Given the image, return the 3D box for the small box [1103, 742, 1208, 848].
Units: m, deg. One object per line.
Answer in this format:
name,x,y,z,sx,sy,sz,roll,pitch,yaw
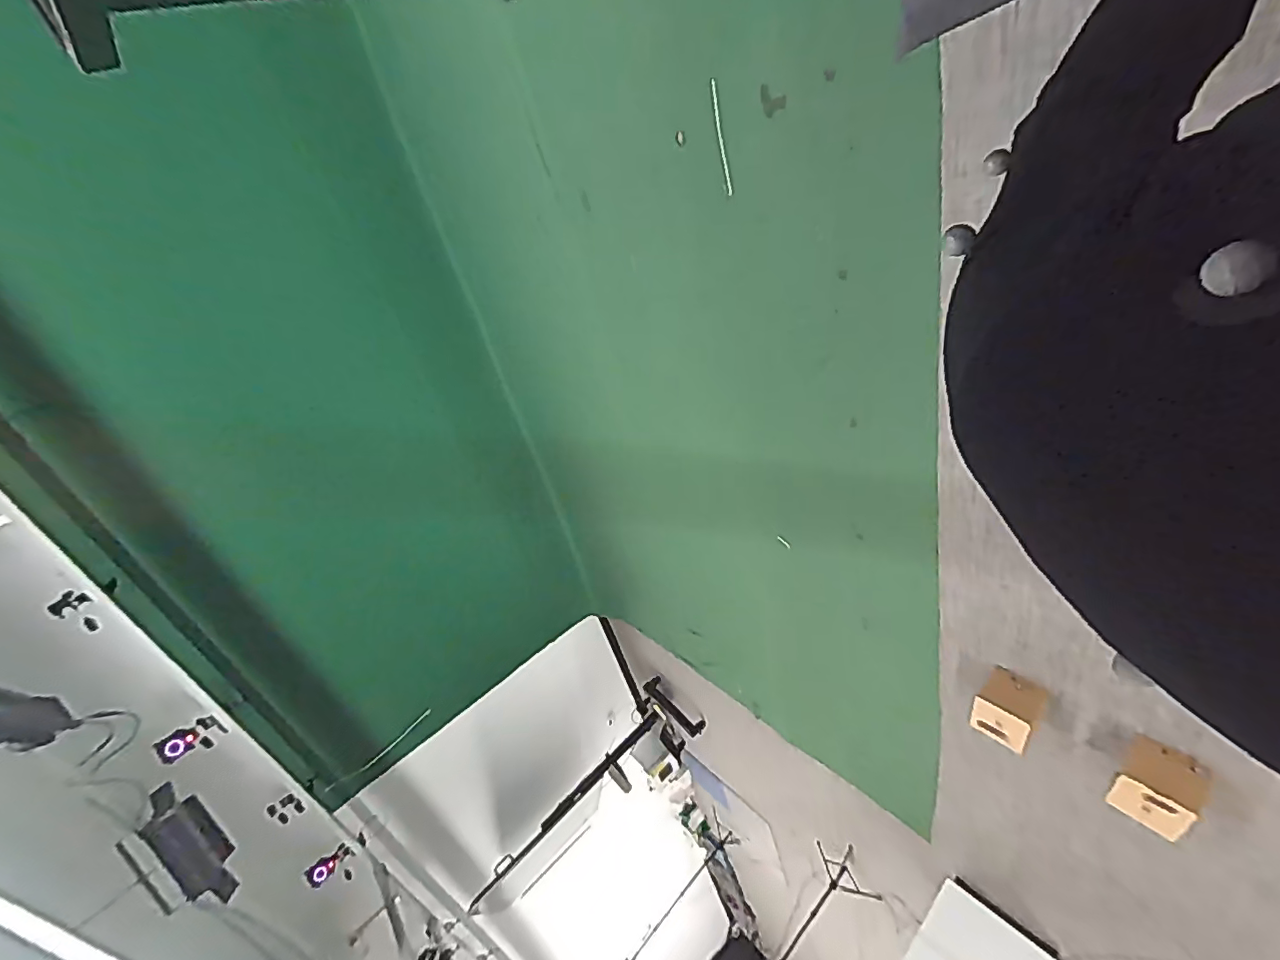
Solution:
small box,1.508,0.913,1.581,0.168,0.176,0.179,28,142,44
